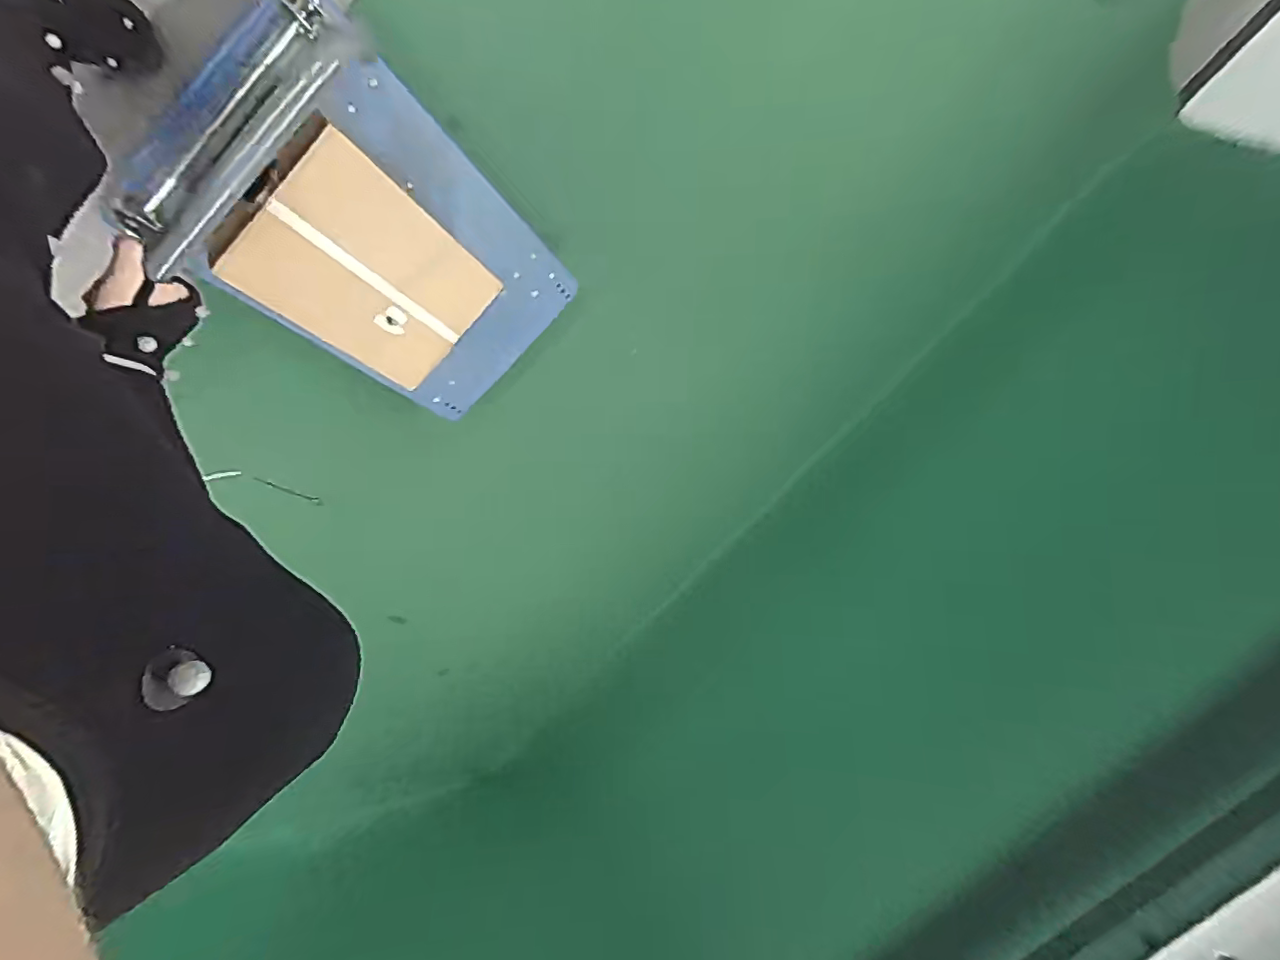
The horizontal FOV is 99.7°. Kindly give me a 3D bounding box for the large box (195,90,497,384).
[{"bbox_3d":[-0.588,-0.475,1.105,0.320,0.320,0.408,-45,145,6],"label":"large box"}]
